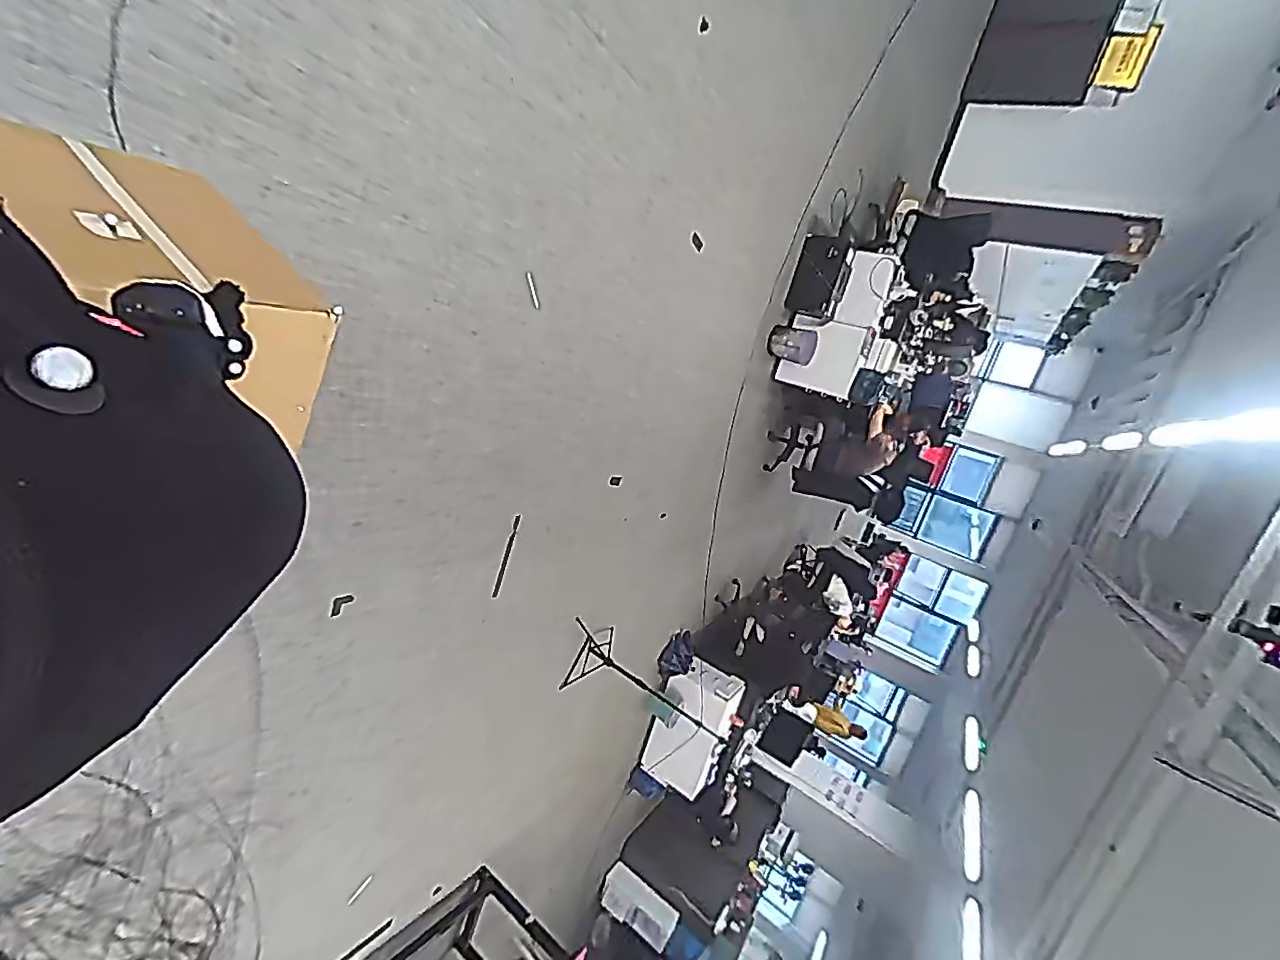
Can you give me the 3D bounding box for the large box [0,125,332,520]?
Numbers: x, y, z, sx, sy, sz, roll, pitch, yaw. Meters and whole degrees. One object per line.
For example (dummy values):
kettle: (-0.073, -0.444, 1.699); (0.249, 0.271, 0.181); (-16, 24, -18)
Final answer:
large box: (-0.719, -0.212, 0.738); (0.320, 0.408, 0.320); (-56, 163, 26)
